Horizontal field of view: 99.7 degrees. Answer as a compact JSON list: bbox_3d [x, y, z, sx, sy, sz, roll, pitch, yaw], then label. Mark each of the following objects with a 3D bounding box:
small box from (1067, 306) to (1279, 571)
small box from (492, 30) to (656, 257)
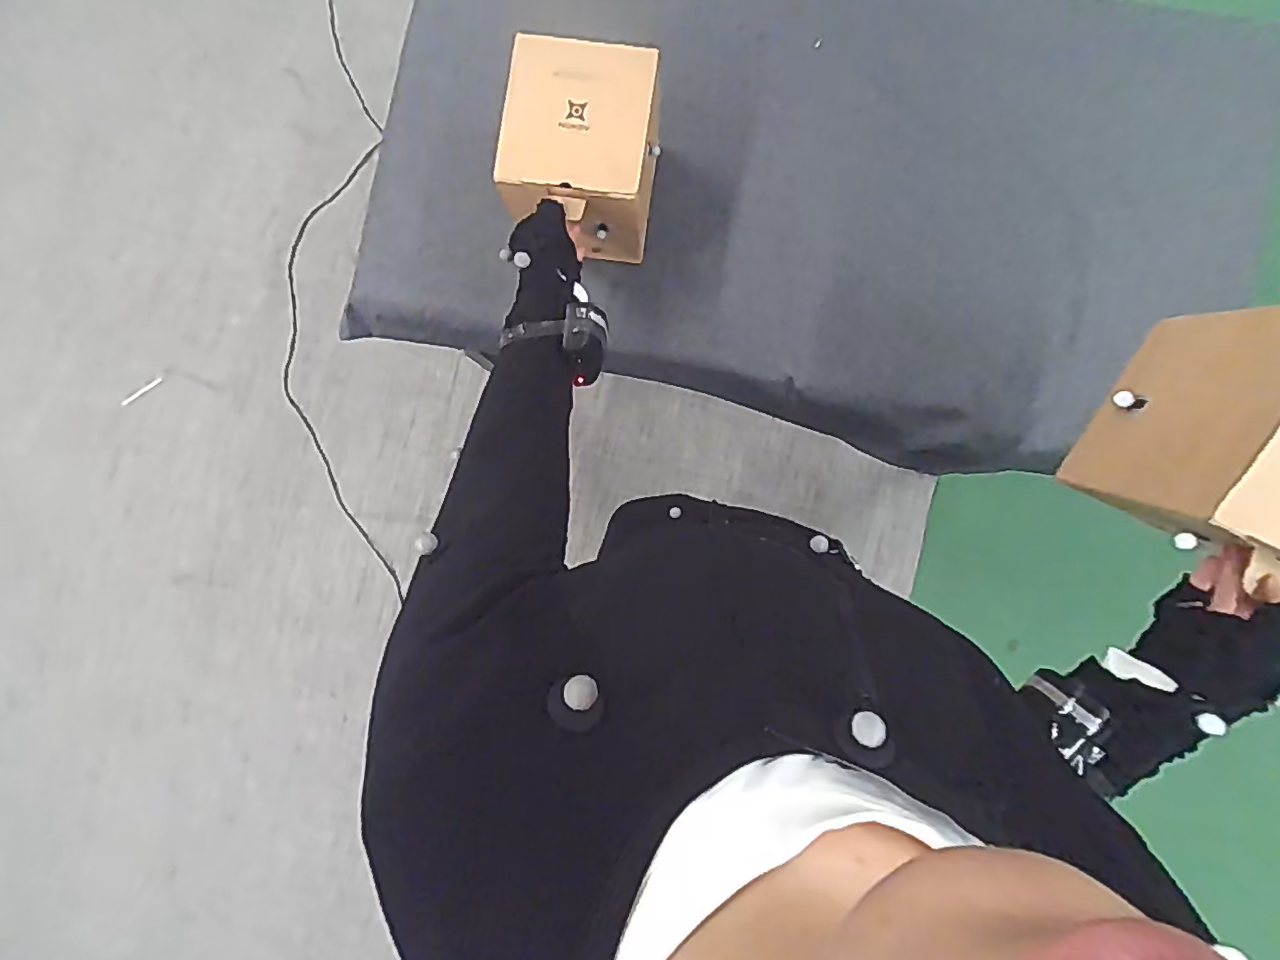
[{"bbox_3d":[0.524,-0.030,0.462,0.168,0.176,0.179,25,102,-2],"label":"small box"},{"bbox_3d":[-0.072,-0.406,0.682,0.168,0.176,0.179,8,86,0],"label":"small box"}]
